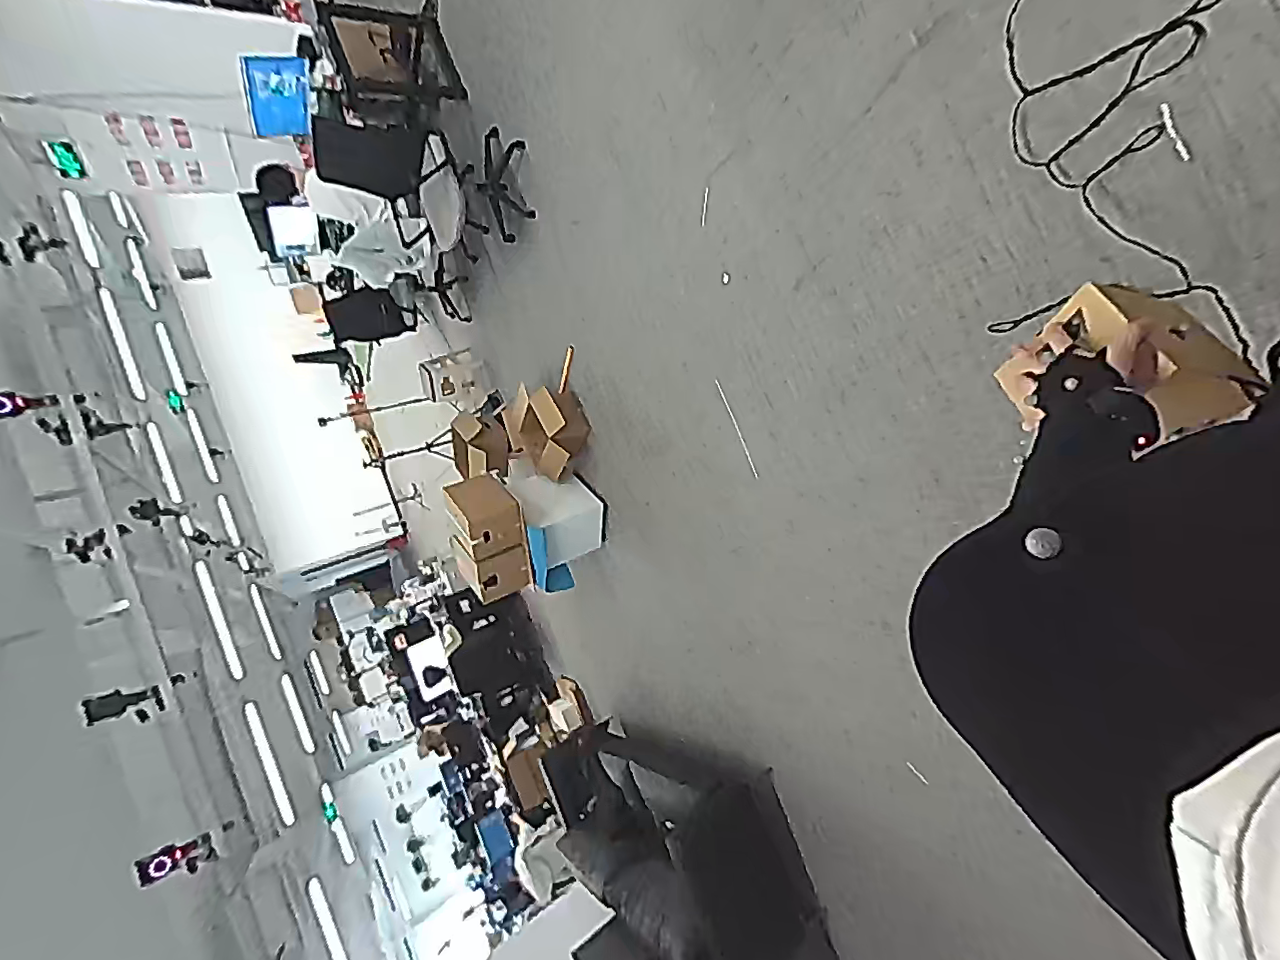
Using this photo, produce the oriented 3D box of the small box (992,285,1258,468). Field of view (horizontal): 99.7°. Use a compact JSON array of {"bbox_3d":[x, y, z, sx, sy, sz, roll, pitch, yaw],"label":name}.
[{"bbox_3d":[0.645,-0.133,0.739,0.168,0.176,0.179,113,157,-48],"label":"small box"}]
